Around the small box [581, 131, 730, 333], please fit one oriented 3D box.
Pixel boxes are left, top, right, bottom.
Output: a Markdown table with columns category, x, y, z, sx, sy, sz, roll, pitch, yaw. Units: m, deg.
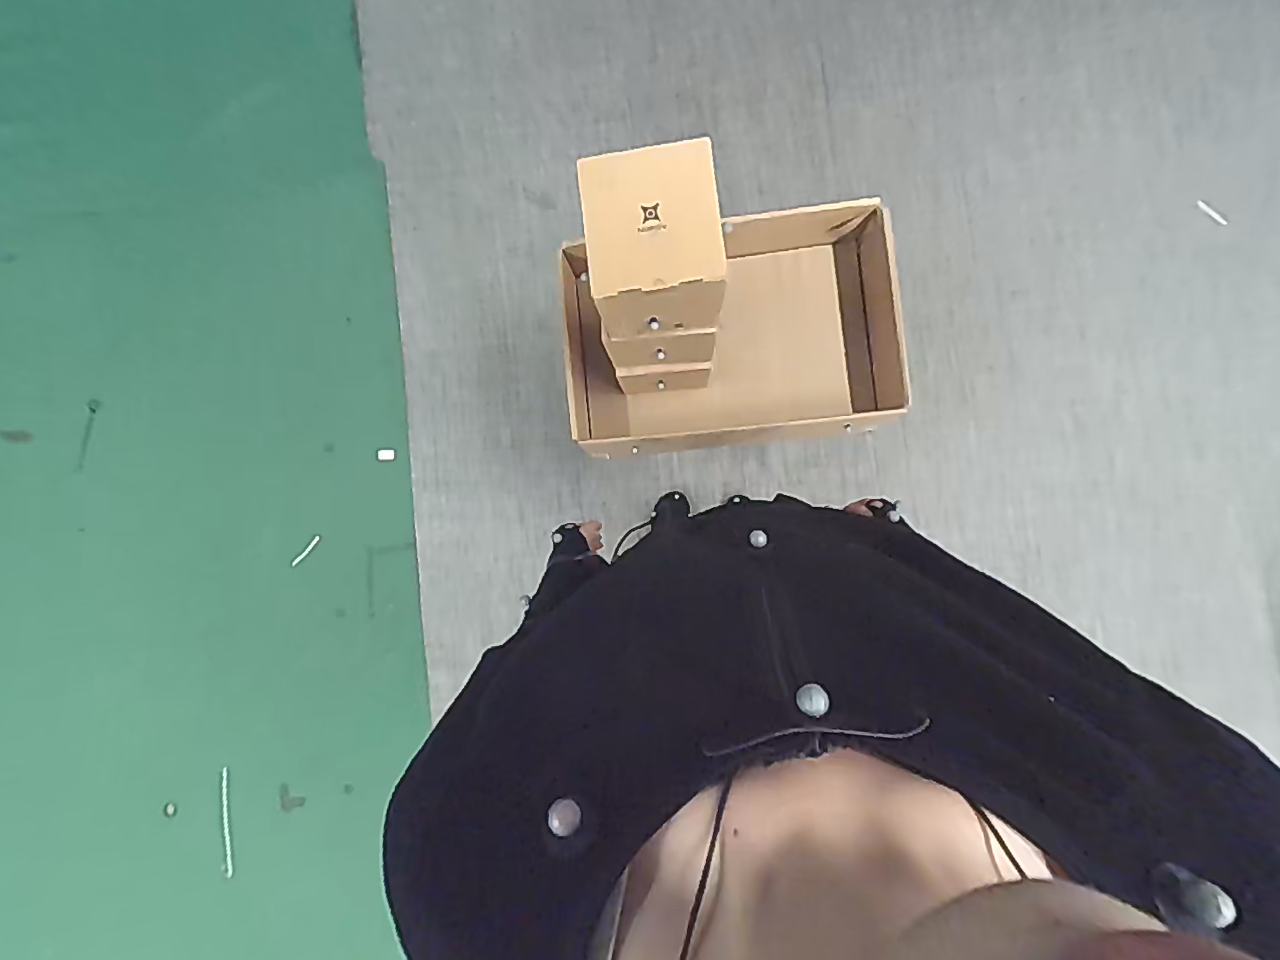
| category | x | y | z | sx | sy | sz | roll | pitch | yaw |
| --- | --- | --- | --- | --- | --- | --- | --- | --- | --- |
| small box | 0.023 | -0.316 | 0.720 | 0.168 | 0.176 | 0.179 | -7 | 87 | 5 |

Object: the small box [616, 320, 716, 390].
| category | x | y | z | sx | sy | sz | roll | pitch | yaw |
| --- | --- | --- | --- | --- | --- | --- | --- | --- | --- |
| small box | 0.049 | -0.276 | 1.043 | 0.179 | 0.176 | 0.168 | -4 | 87 | 6 |
